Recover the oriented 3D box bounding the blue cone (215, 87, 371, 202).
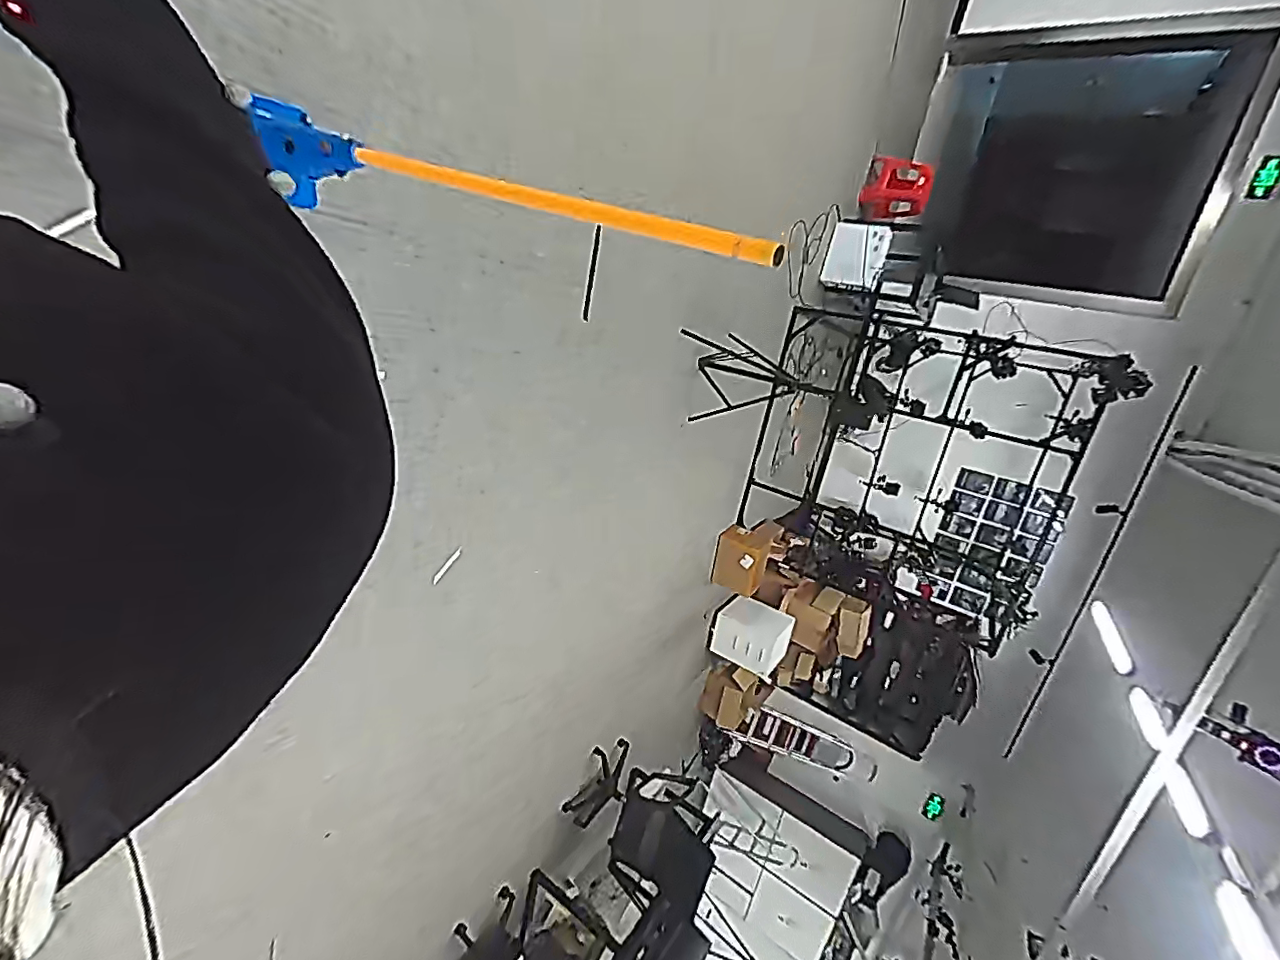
[{"bbox_3d":[-0.663,-0.666,1.087,0.193,0.380,0.192,-19,123,-55],"label":"blue cone"}]
